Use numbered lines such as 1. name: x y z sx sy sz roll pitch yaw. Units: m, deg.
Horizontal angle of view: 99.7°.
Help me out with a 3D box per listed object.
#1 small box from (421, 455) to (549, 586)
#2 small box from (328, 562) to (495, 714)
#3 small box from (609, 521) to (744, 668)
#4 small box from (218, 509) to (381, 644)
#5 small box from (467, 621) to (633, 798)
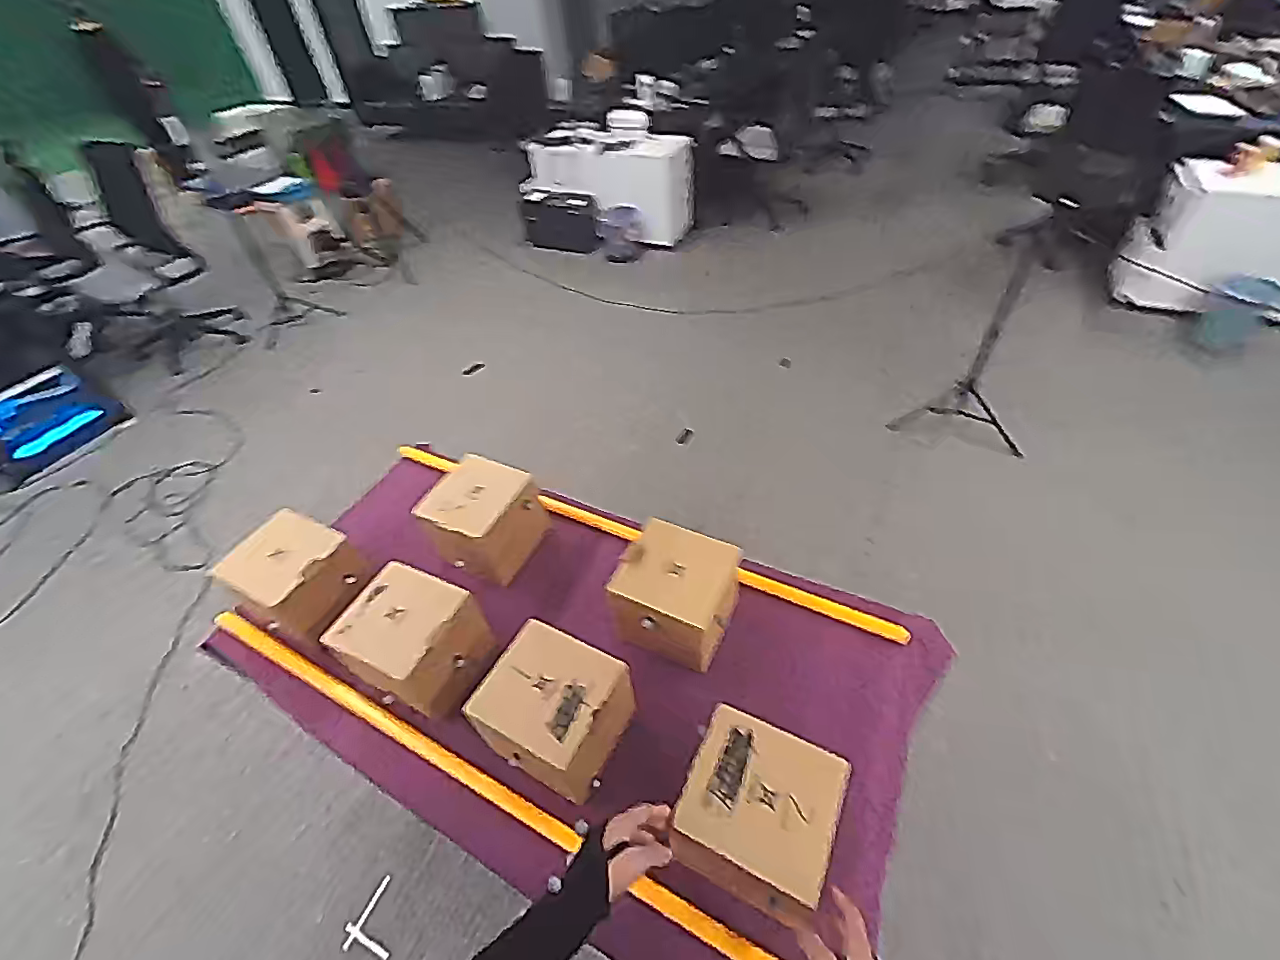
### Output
1. small box: -0.304 0.084 1.109 0.168 0.176 0.179 18 53 22
2. small box: -0.379 0.277 0.932 0.179 0.176 0.168 17 50 21
3. small box: 0.070 0.206 0.952 0.179 0.176 0.168 17 51 23
4. small box: -0.639 0.190 1.041 0.179 0.176 0.168 19 50 19
5. small box: -0.124 0.355 0.829 0.179 0.176 0.168 19 49 24
